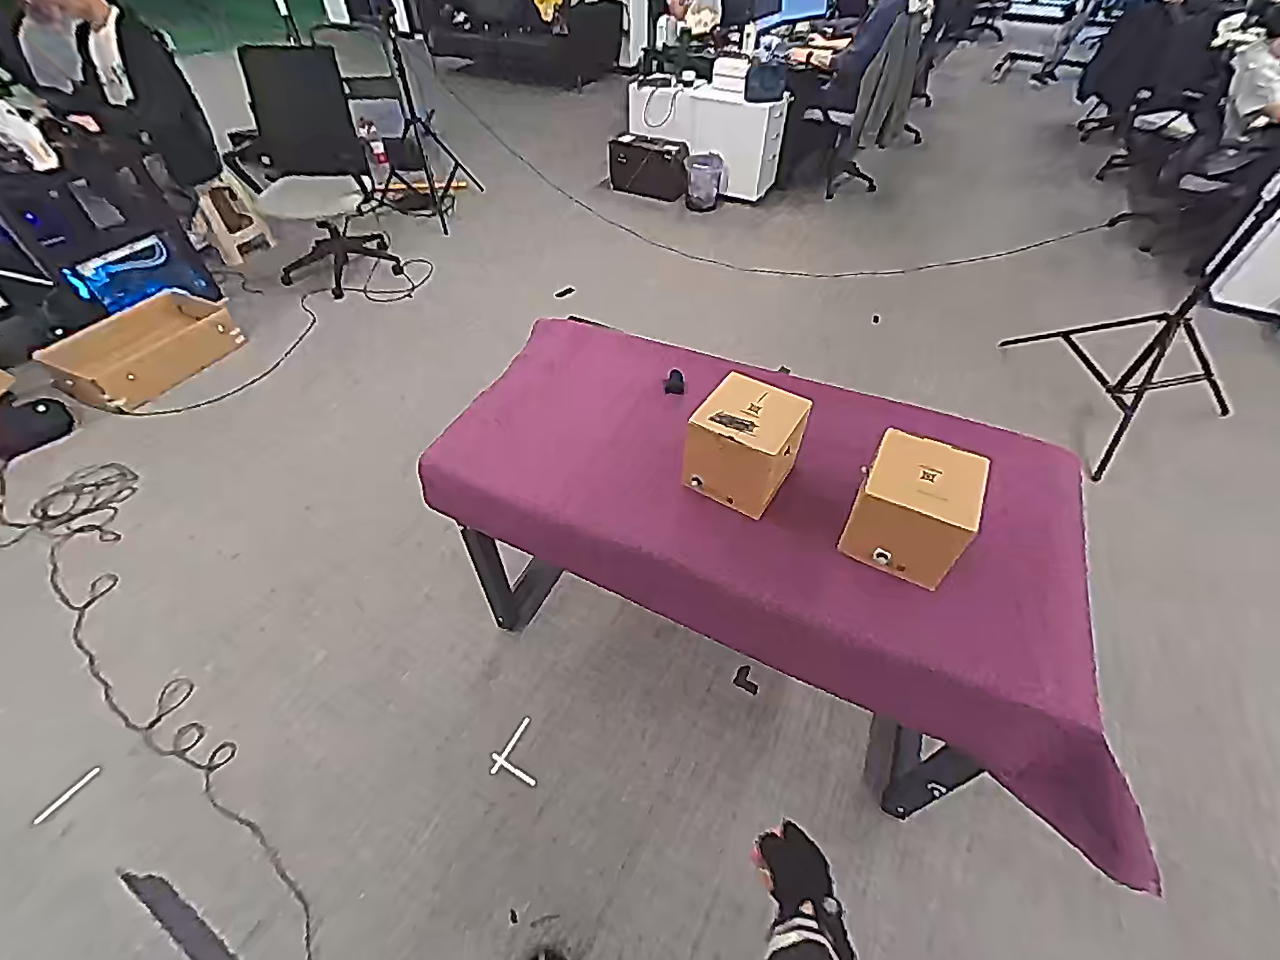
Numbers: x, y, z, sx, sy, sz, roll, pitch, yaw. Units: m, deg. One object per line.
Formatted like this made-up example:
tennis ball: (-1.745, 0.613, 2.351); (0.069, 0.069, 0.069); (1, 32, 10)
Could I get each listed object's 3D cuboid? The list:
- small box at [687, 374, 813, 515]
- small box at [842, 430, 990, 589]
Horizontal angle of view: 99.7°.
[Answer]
small box: (0.200, -0.064, 1.018); (0.168, 0.176, 0.179); (26, 51, 21)
small box: (0.462, 0.050, 0.919); (0.168, 0.176, 0.179); (21, 51, 20)
